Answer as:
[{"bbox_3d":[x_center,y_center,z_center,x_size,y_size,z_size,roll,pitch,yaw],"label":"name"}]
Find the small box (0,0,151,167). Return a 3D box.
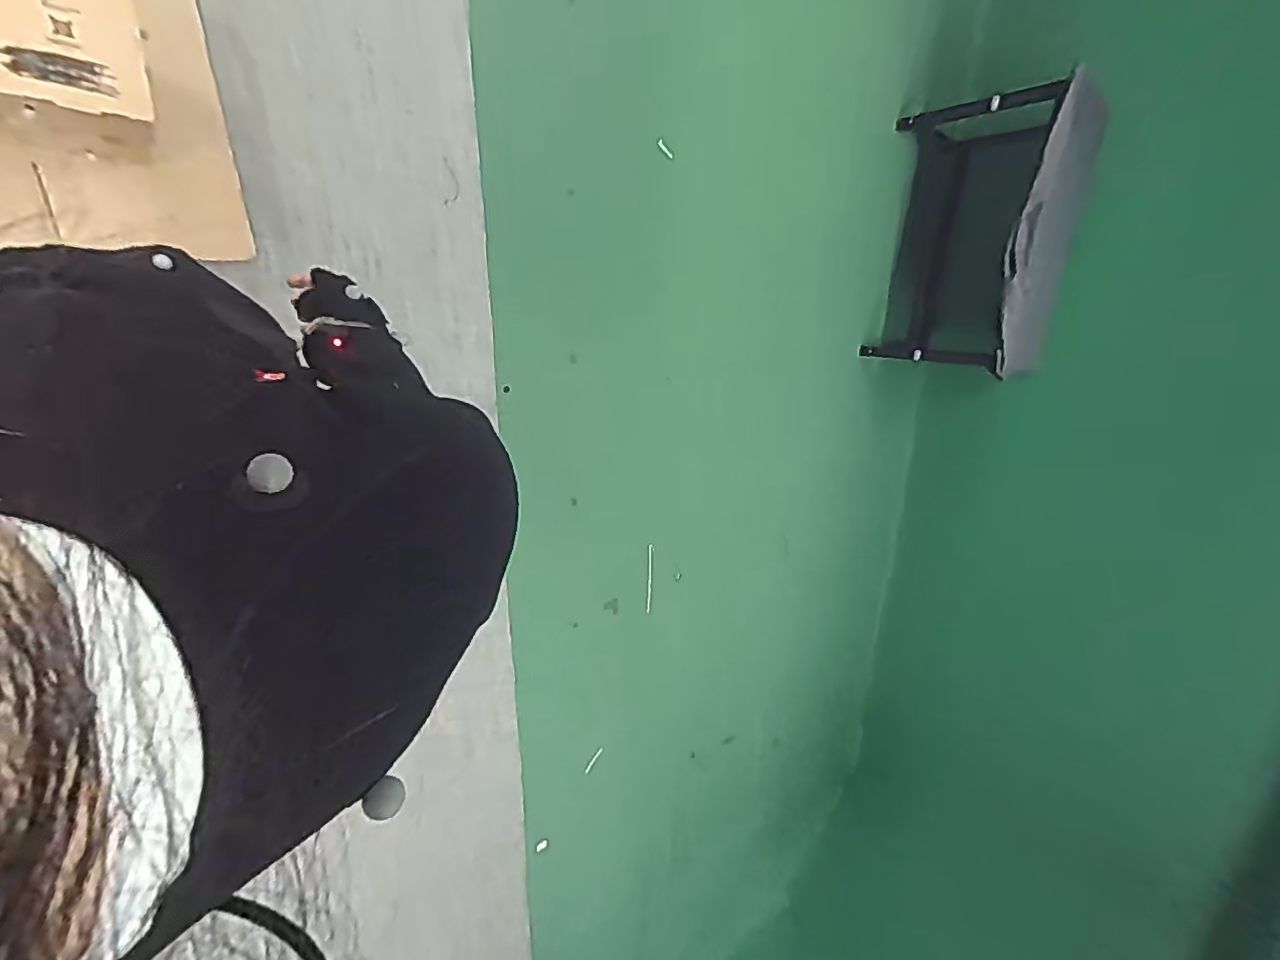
[{"bbox_3d":[-0.945,-0.649,0.902,0.168,0.176,0.179,-12,112,-40],"label":"small box"}]
